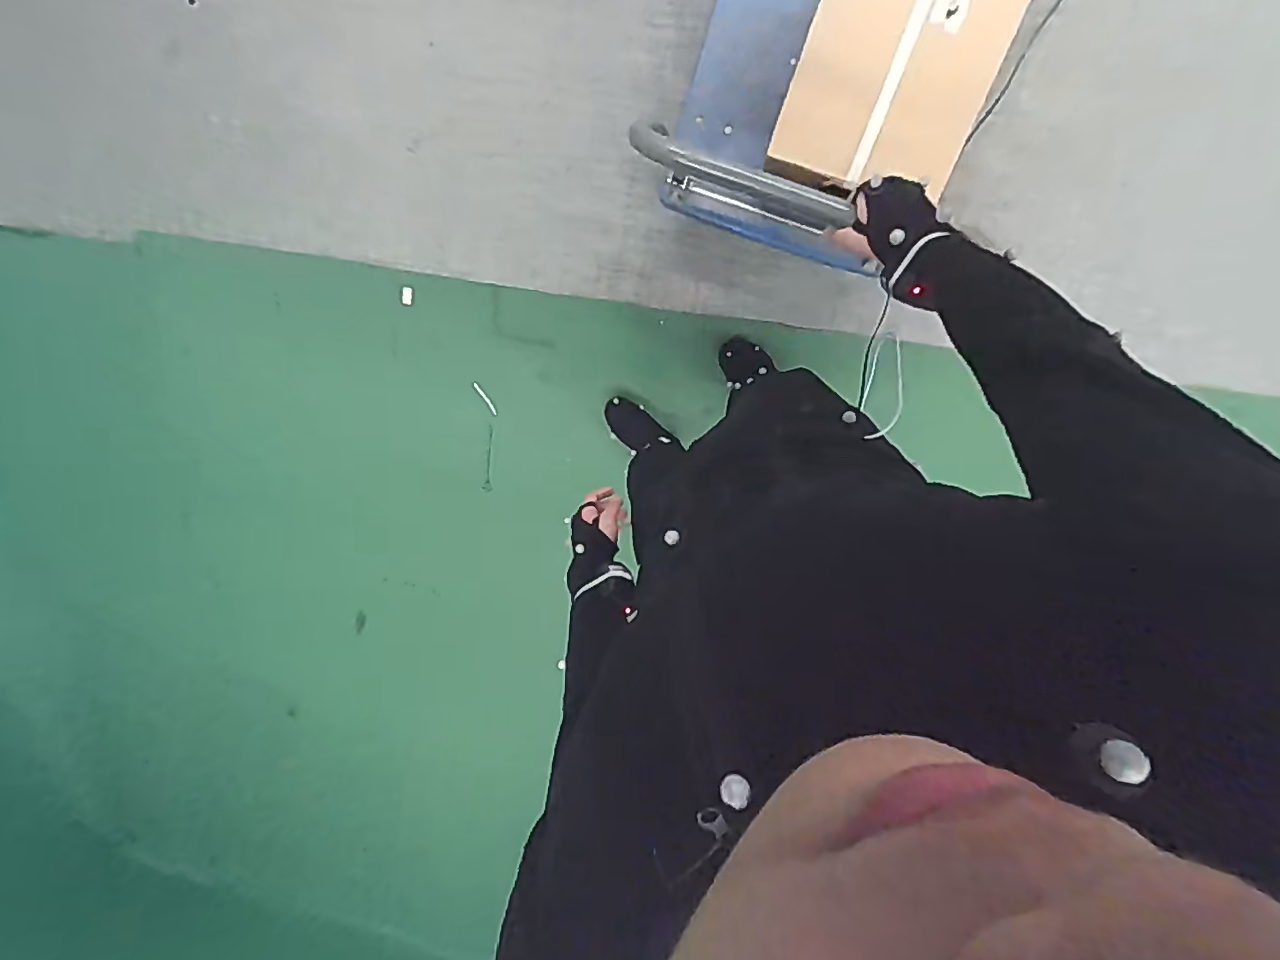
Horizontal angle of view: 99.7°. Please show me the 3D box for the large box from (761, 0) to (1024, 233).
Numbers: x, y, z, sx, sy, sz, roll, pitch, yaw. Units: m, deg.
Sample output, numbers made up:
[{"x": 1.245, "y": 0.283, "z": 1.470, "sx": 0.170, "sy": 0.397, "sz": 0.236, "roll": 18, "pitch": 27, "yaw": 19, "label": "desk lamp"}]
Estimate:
[{"x": 0.451, "y": -0.745, "z": 1.042, "sx": 0.320, "sy": 0.320, "sz": 0.408, "roll": 19, "pitch": 109, "yaw": 2, "label": "large box"}]
